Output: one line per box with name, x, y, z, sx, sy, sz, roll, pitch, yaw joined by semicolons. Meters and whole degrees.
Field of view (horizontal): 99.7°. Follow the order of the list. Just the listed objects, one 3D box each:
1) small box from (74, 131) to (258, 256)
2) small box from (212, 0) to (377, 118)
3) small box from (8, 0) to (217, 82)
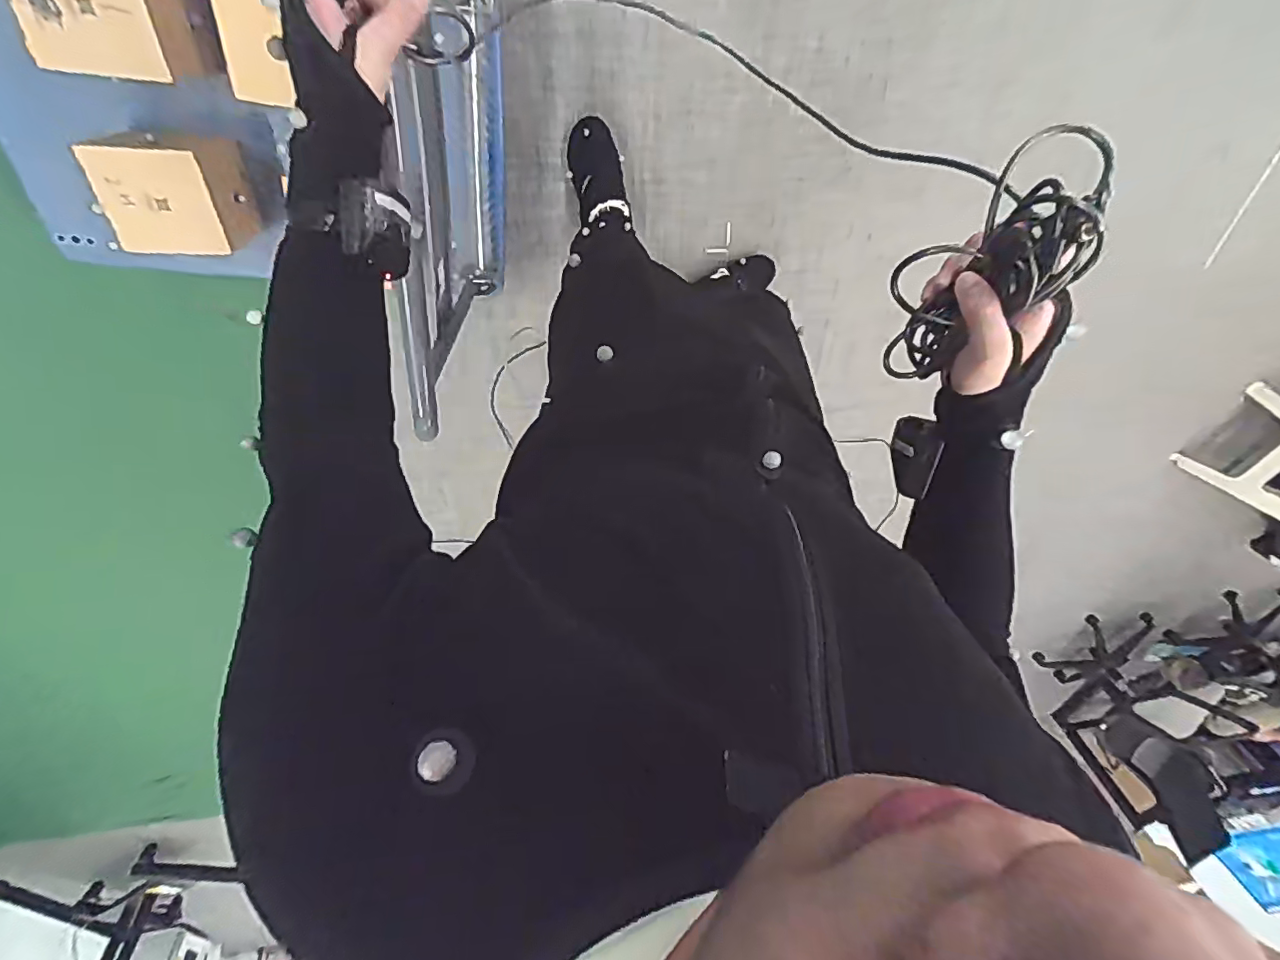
small box;-0.826;-0.517;0.972;0.179;0.176;0.168;-1;129;-10
small box;-0.544;-0.704;0.871;0.179;0.176;0.168;2;129;-13
small box;-0.794;-0.715;0.812;0.179;0.176;0.168;-1;130;-11
